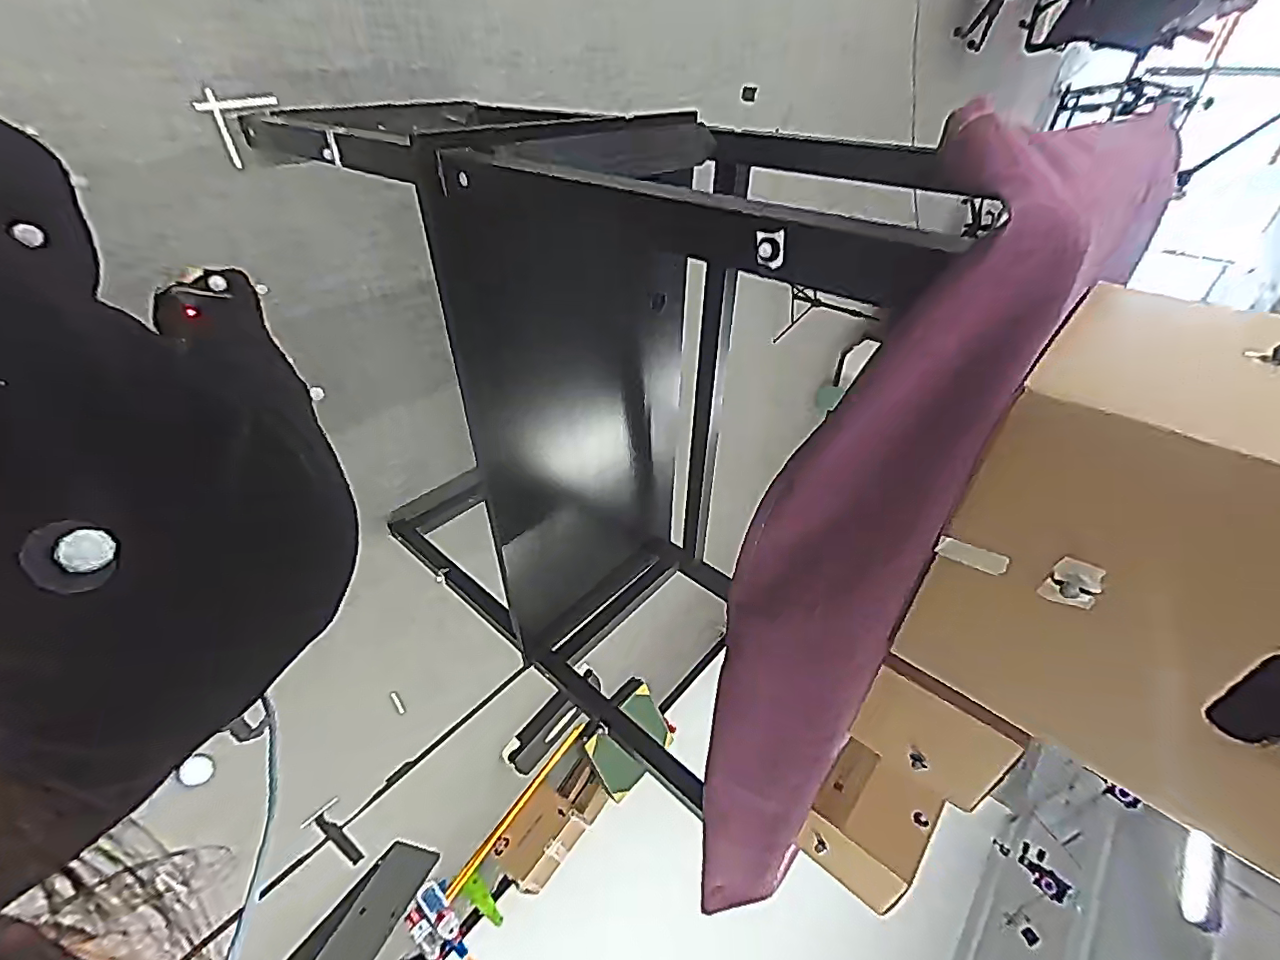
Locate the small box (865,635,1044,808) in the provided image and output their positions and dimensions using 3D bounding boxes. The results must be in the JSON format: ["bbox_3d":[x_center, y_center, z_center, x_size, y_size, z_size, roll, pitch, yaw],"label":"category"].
[{"bbox_3d":[0.429,0.288,0.735,0.168,0.176,0.179,-35,139,-37],"label":"small box"}]

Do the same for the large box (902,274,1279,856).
[{"bbox_3d":[0.509,0.026,0.516,0.408,0.320,0.320,-34,140,-38],"label":"large box"}]

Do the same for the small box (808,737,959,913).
[{"bbox_3d":[0.412,0.590,0.940,0.168,0.176,0.179,-37,141,-35],"label":"small box"}]
